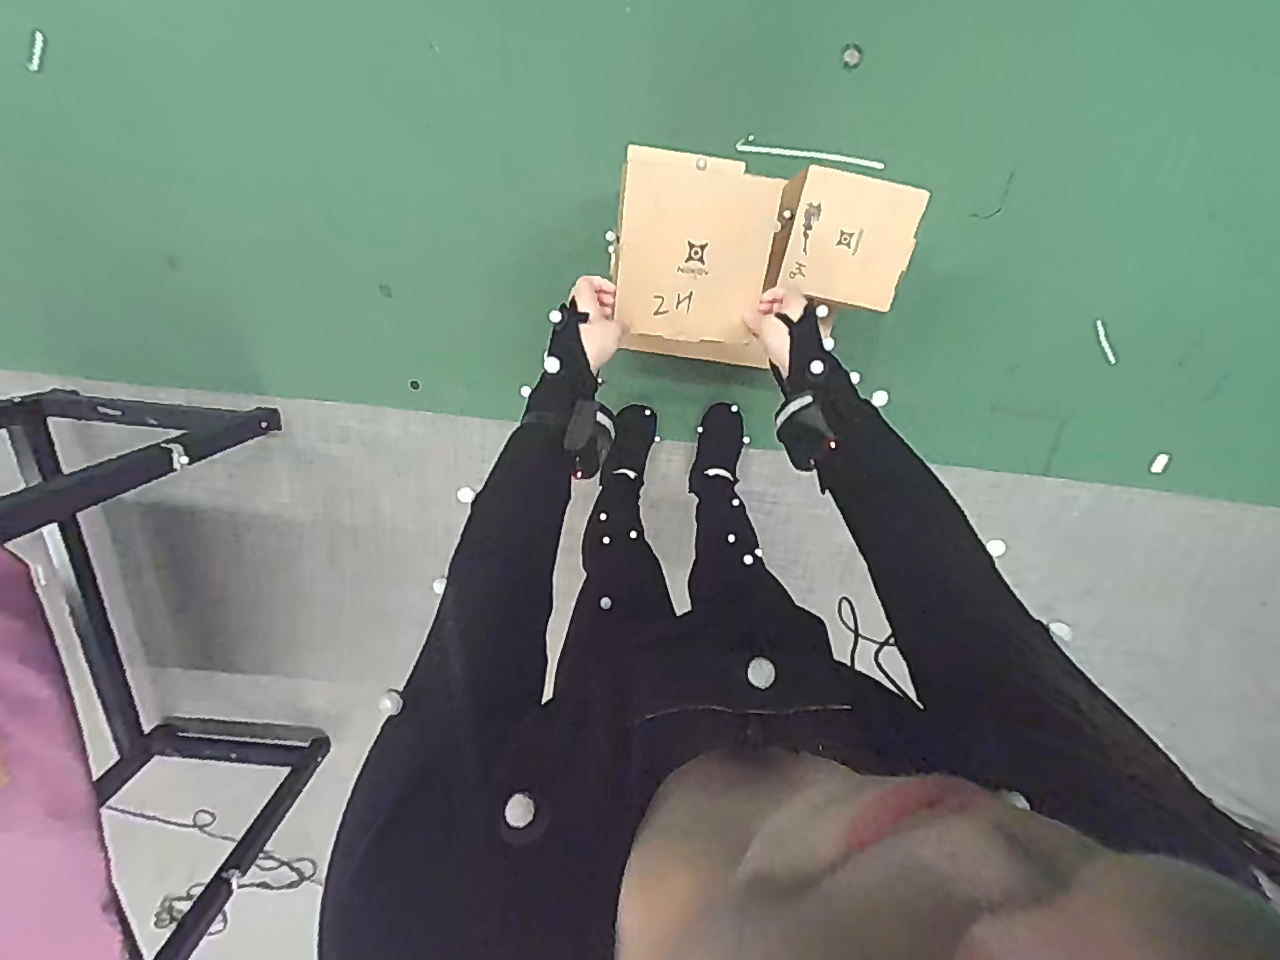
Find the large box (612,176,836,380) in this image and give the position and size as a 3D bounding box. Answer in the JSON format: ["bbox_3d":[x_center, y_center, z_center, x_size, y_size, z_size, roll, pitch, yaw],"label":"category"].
[{"bbox_3d":[0.160,-0.399,1.089,0.408,0.320,0.320,7,111,-1],"label":"large box"}]

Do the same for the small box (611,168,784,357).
[{"bbox_3d":[0.054,-0.263,0.652,0.168,0.176,0.179,5,118,-5],"label":"small box"}]

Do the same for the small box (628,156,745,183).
[{"bbox_3d":[0.054,-0.377,0.842,0.168,0.176,0.179,7,110,-2],"label":"small box"}]

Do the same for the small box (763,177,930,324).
[{"bbox_3d":[0.301,-0.349,0.841,0.179,0.176,0.168,12,109,-2],"label":"small box"}]
